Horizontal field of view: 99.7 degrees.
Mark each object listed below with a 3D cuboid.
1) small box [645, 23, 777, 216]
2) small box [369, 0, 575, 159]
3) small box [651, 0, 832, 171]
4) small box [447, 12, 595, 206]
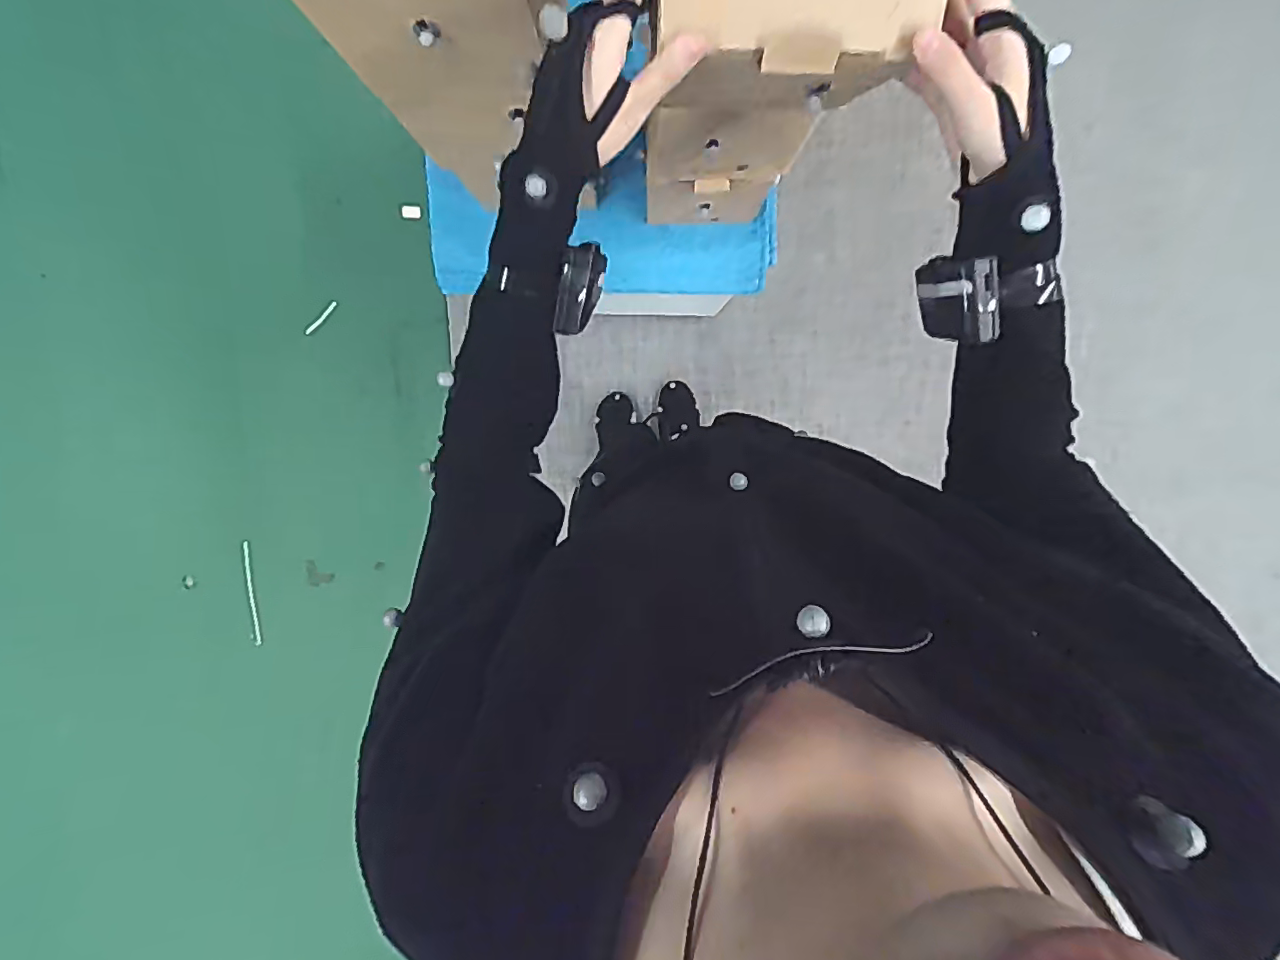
[{"bbox_3d":[0.090,-0.473,0.736,0.168,0.176,0.179,-1,99,0],"label":"small box"},{"bbox_3d":[-0.163,-0.462,0.572,0.179,0.176,0.168,-1,98,1],"label":"small box"},{"bbox_3d":[0.097,-0.450,0.574,0.168,0.176,0.179,-3,97,2],"label":"small box"},{"bbox_3d":[-0.153,-0.488,0.734,0.179,0.176,0.168,-1,98,1],"label":"small box"}]
